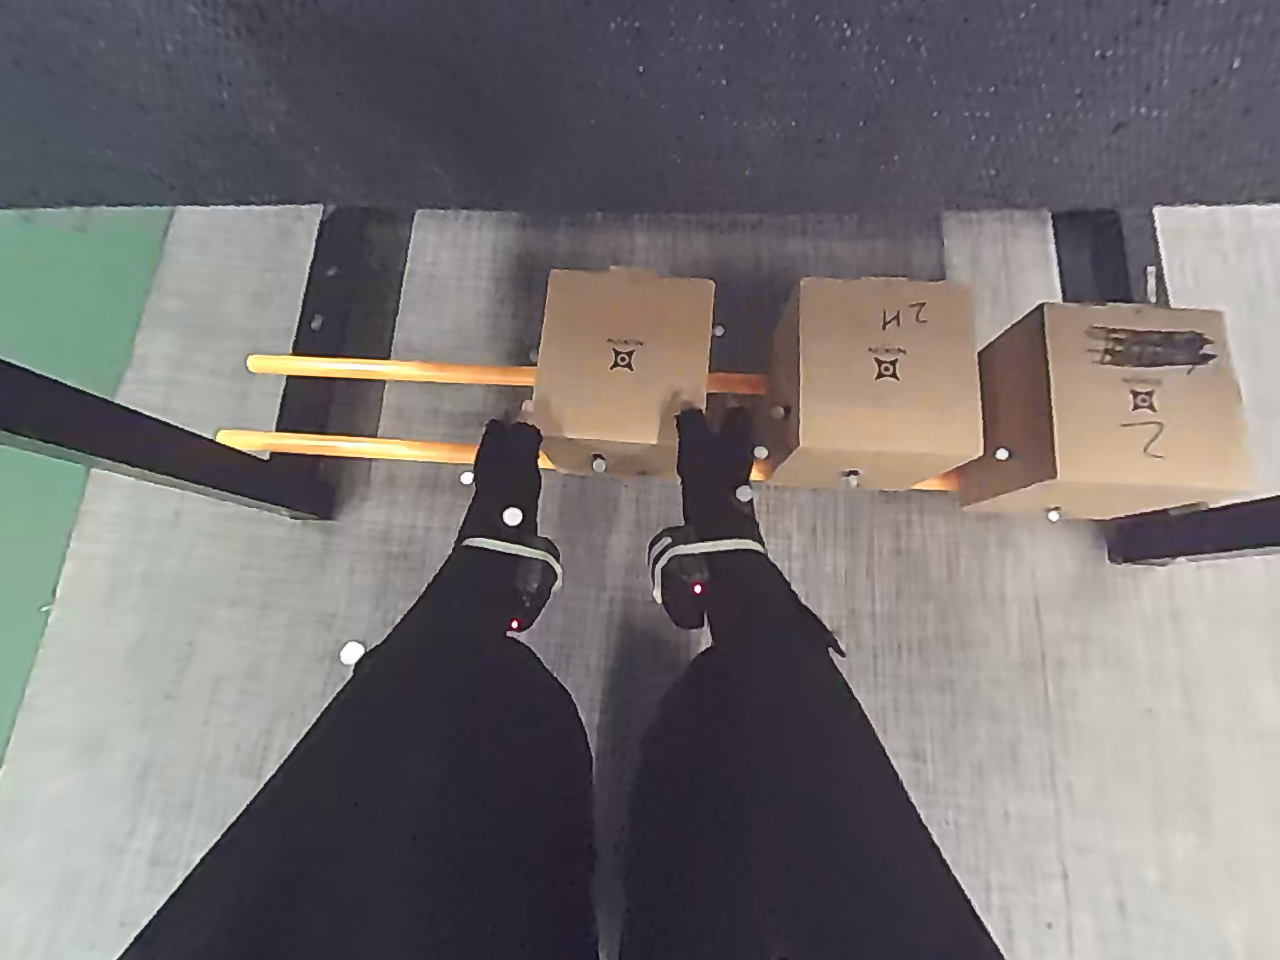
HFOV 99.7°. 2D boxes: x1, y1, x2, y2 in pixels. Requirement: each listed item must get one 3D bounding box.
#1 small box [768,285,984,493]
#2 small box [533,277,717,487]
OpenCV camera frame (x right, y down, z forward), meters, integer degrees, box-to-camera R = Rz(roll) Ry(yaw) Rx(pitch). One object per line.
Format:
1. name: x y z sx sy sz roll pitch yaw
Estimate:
1. small box: 0.236 -0.086 0.584 0.168 0.176 0.179 2 76 4
2. small box: -0.010 -0.096 0.596 0.168 0.176 0.179 4 76 2
